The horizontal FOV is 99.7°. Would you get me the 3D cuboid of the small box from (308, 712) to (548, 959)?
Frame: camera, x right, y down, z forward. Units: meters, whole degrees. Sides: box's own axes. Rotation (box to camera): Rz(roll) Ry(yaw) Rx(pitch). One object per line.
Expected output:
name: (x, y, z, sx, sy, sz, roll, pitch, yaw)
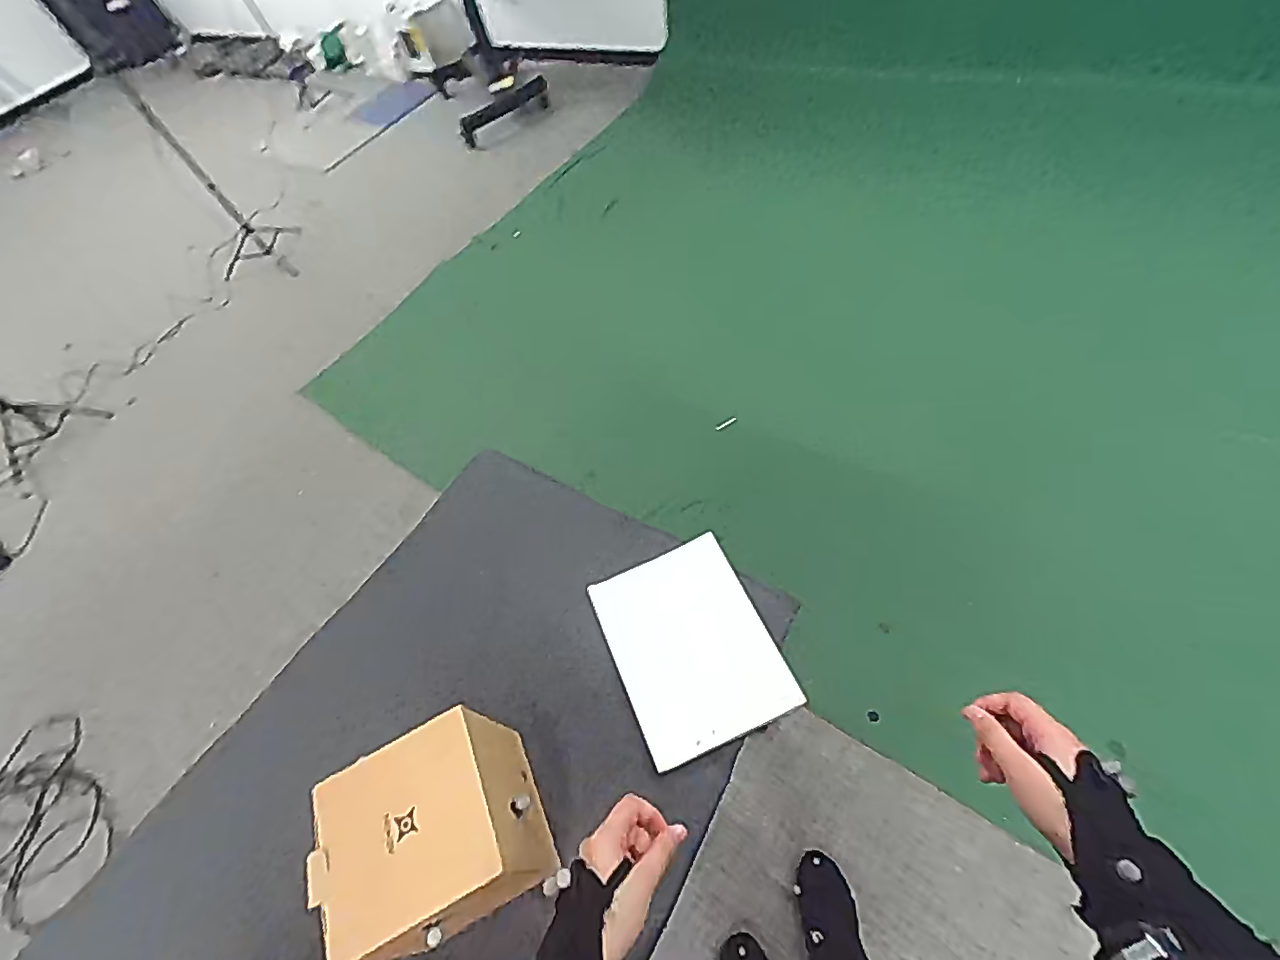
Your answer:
small box: (-0.216, 0.383, 0.586, 0.179, 0.176, 0.168, -29, 55, -6)
